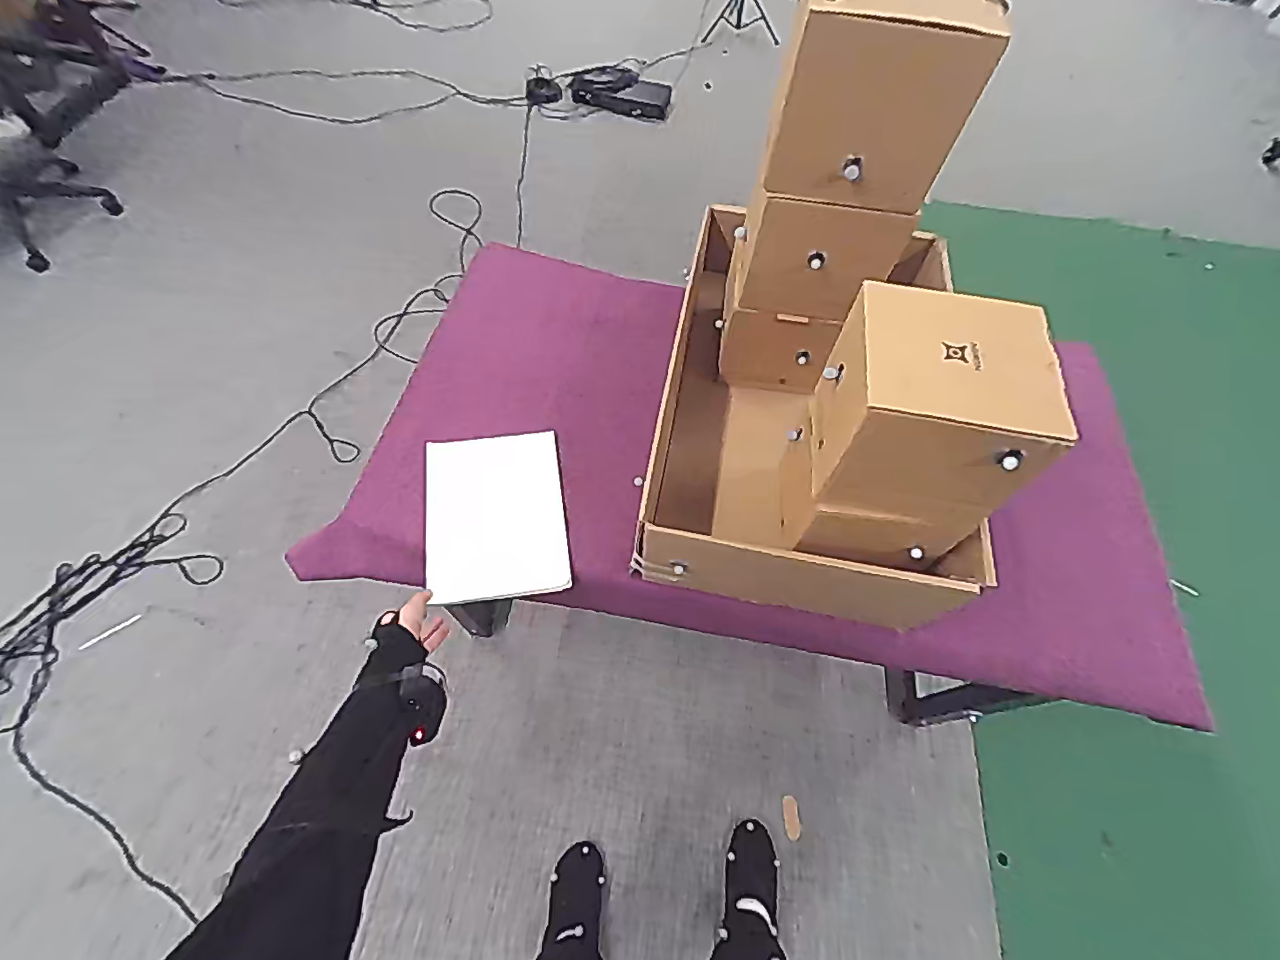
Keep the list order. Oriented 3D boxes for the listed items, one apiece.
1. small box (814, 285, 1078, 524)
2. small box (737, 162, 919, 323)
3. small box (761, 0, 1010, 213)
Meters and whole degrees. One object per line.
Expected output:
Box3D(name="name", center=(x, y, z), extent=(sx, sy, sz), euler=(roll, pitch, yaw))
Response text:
Box3D(name="small box", center=(0.290, -0.071, 0.562), extent=(0.179, 0.176, 0.168), euler=(11, 59, 3))
Box3D(name="small box", center=(0.235, -0.330, 0.714), extent=(0.179, 0.176, 0.168), euler=(8, 61, 2))
Box3D(name="small box", center=(0.241, -0.414, 0.572), extent=(0.179, 0.176, 0.168), euler=(11, 61, 2))
